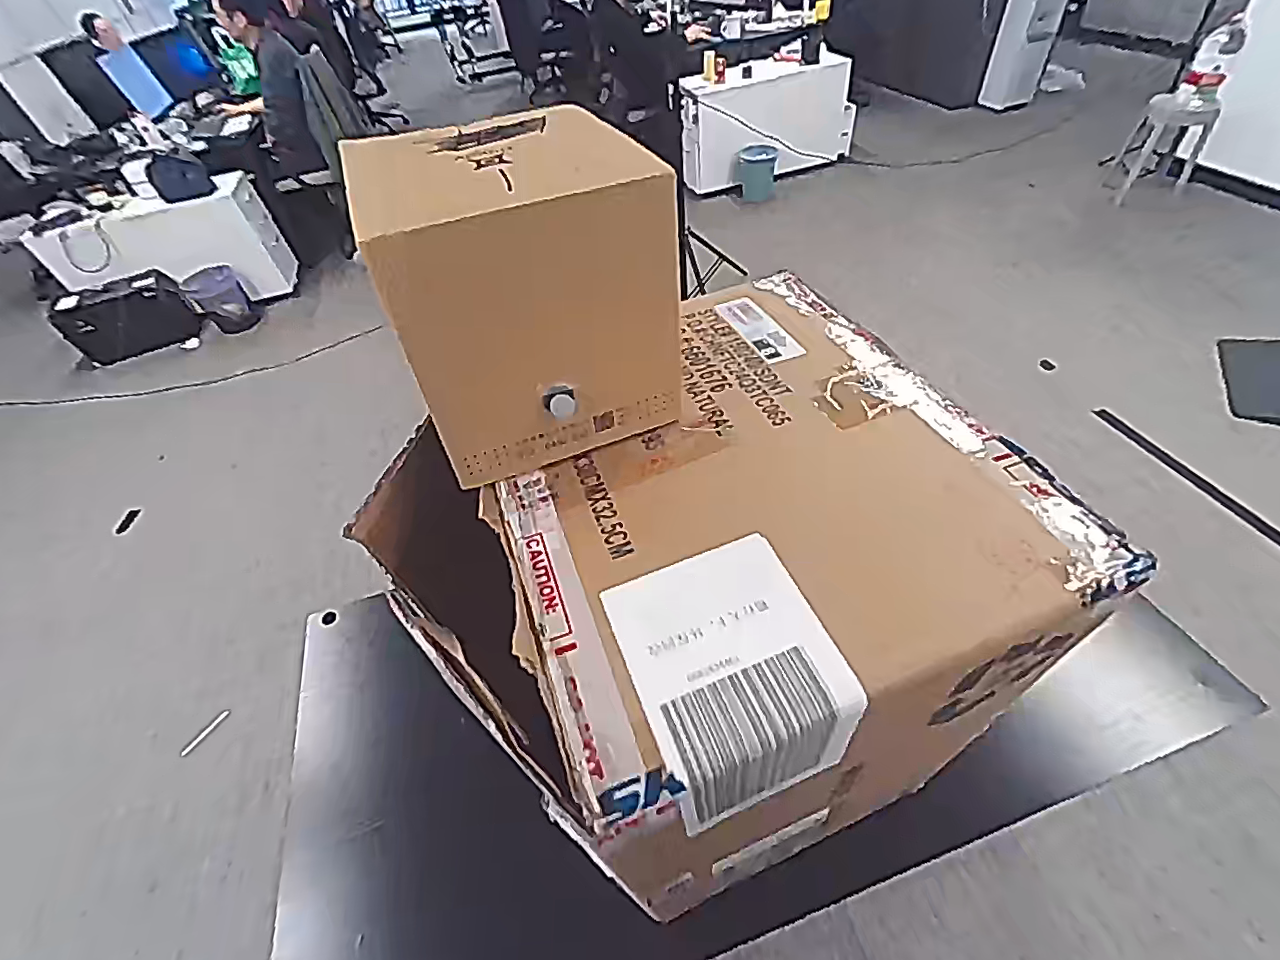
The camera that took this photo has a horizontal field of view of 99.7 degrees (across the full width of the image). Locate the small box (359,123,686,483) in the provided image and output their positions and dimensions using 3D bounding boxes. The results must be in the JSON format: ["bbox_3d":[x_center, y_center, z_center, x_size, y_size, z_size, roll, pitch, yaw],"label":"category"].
[{"bbox_3d":[-0.078,-0.128,0.382,0.168,0.176,0.179,-20,47,-13],"label":"small box"}]
